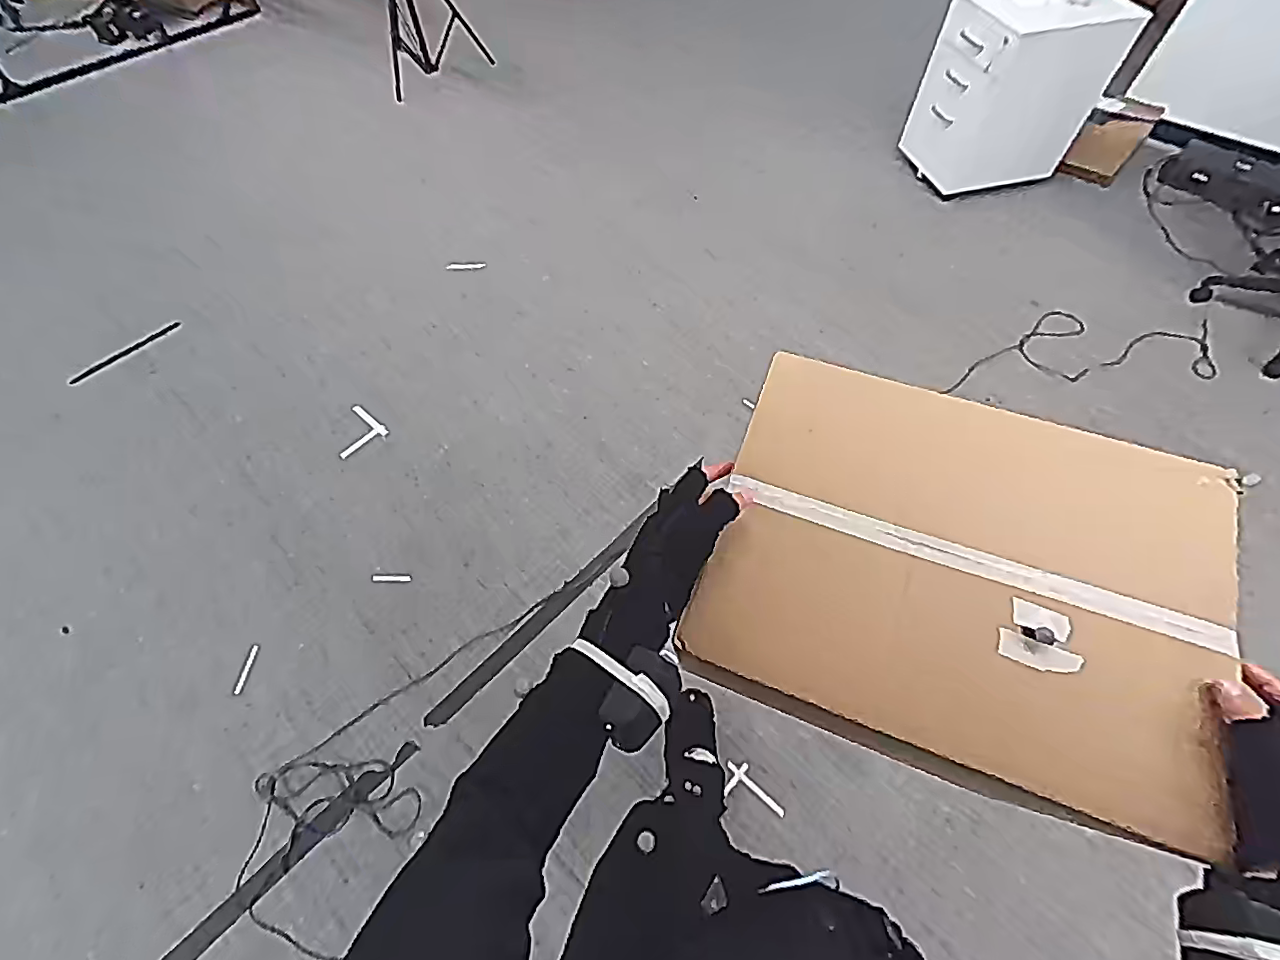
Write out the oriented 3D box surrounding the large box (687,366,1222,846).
[{"bbox_3d":[0.287,0.127,0.611,0.408,0.320,0.320,19,72,12],"label":"large box"}]
